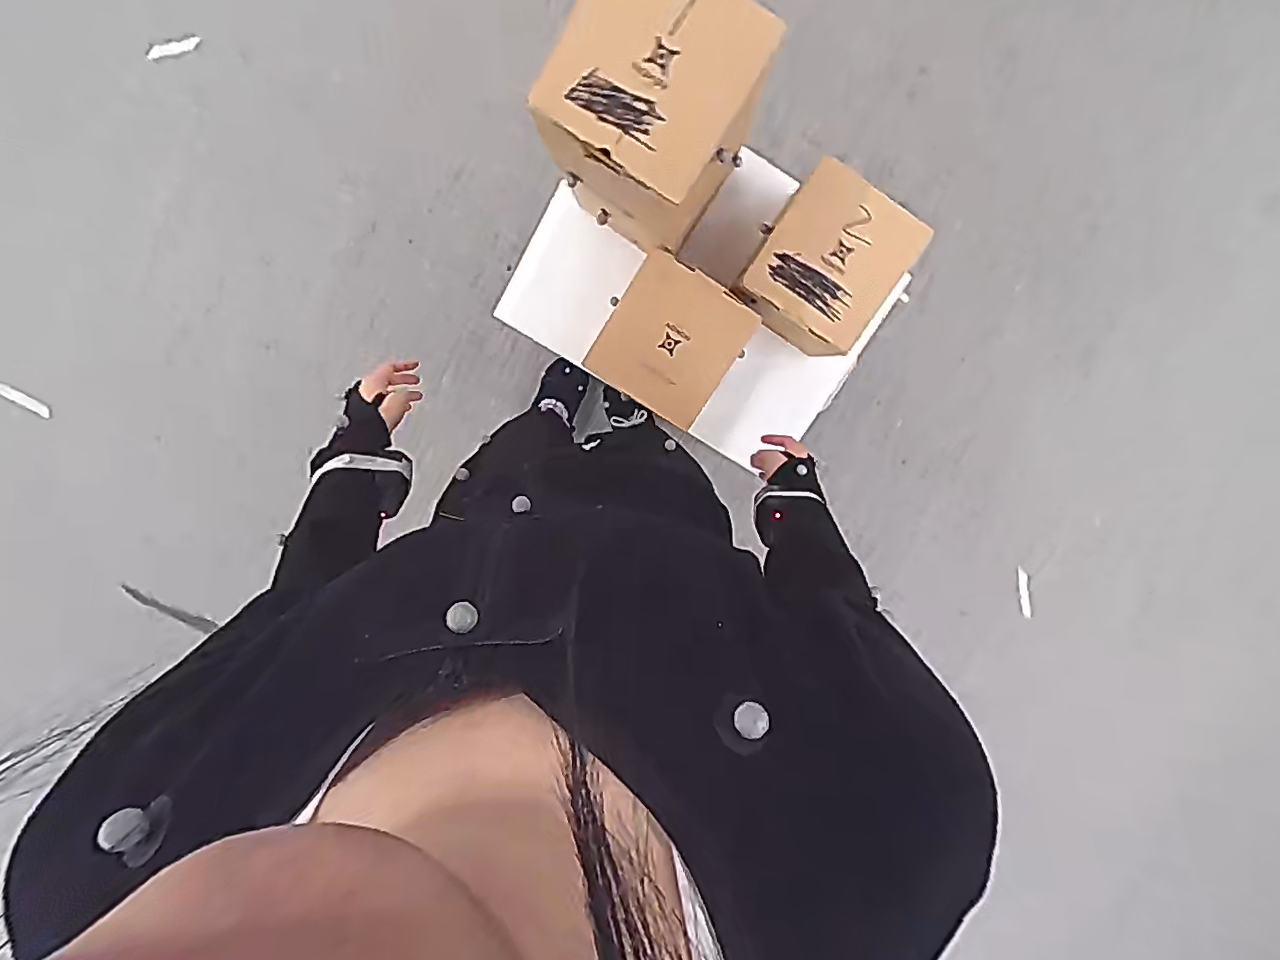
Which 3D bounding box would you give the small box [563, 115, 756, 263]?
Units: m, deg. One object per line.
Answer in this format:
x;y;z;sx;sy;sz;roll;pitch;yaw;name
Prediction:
0.025;-0.413;0.708;0.168;0.176;0.179;34;101;-6;small box

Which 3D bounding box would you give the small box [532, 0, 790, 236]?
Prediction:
0.019;-0.380;0.547;0.168;0.176;0.179;33;100;-6;small box
